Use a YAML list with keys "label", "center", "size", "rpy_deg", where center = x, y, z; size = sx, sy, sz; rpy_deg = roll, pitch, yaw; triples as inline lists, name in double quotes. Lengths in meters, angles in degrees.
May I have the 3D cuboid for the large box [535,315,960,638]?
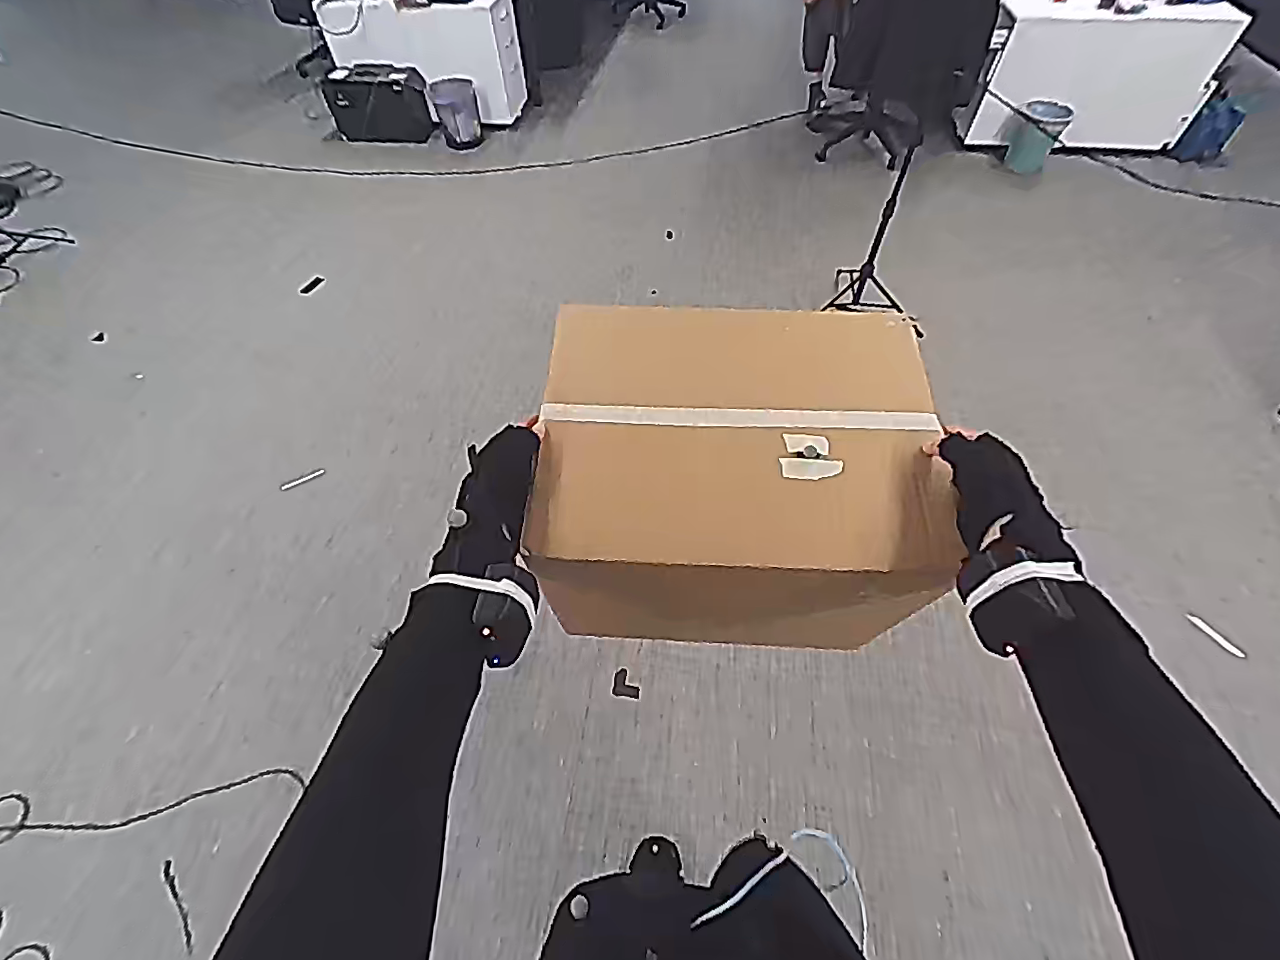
- label: "large box"
  center: [0.103, 0.012, 0.700]
  size: [0.408, 0.320, 0.320]
  rpy_deg: [2, 62, 2]
